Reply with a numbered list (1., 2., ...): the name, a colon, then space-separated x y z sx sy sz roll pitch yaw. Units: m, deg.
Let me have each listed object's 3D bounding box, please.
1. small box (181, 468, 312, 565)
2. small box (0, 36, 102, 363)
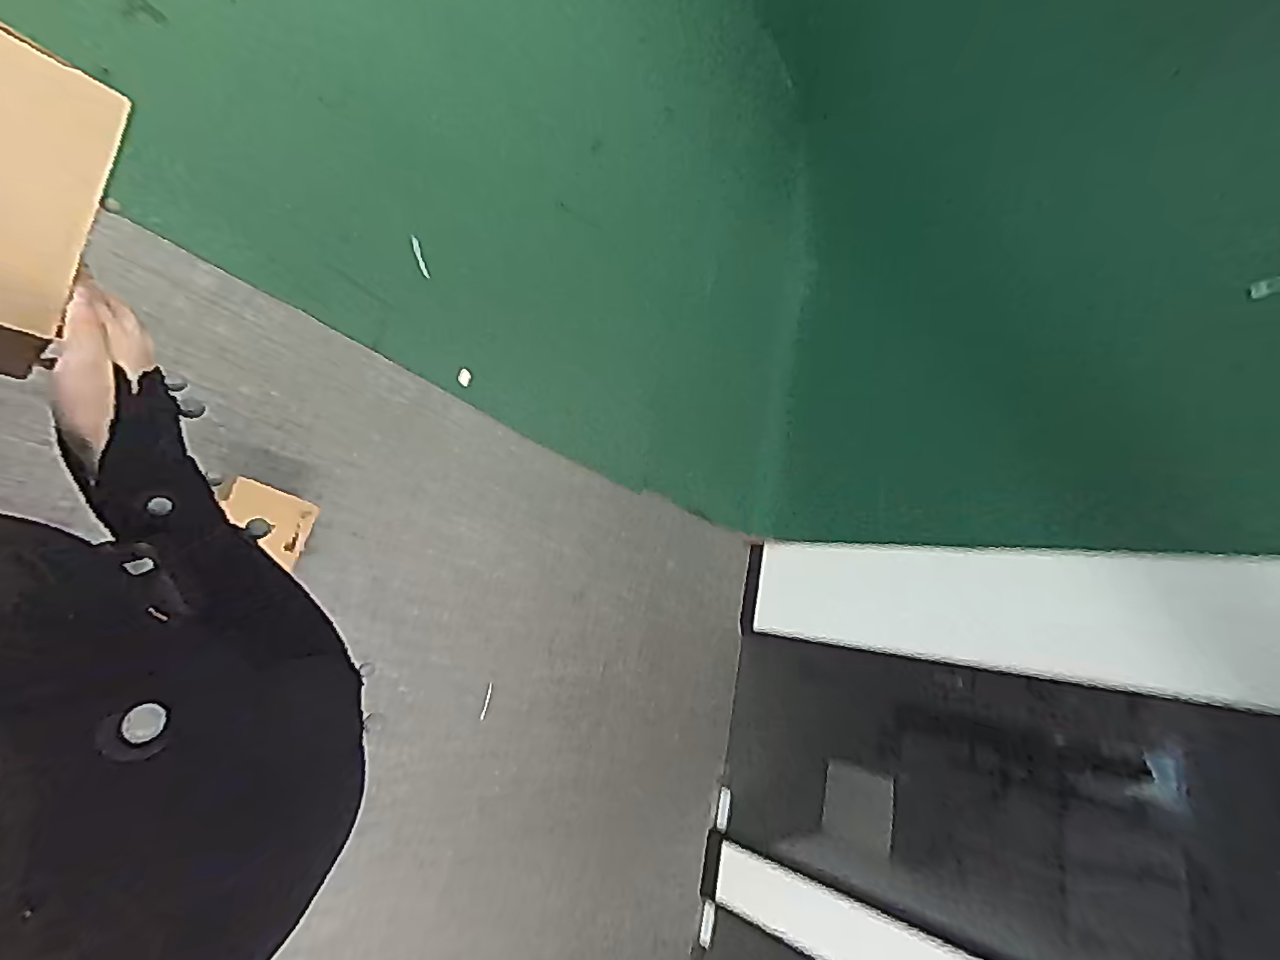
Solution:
1. small box: -0.899 0.087 1.233 0.179 0.176 0.168 35 63 -41
2. small box: -0.478 -0.187 0.329 0.168 0.176 0.179 18 75 -51
